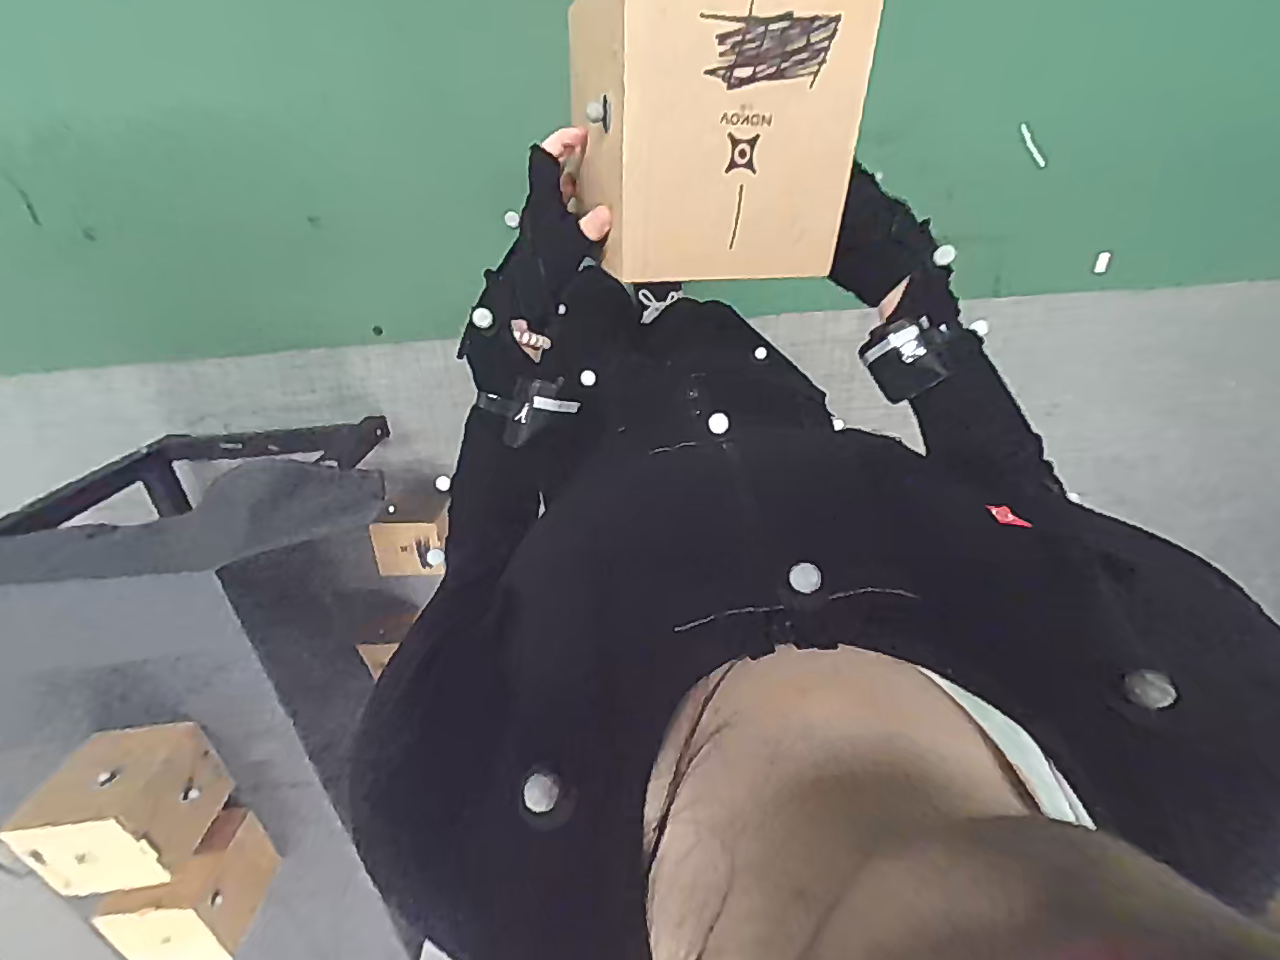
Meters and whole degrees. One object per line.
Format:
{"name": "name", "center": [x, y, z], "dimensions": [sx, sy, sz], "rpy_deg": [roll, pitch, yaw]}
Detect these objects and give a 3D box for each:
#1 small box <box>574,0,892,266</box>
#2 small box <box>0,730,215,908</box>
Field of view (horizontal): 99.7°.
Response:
{"name": "small box", "center": [0.047, -0.264, 0.399], "dimensions": [0.168, 0.176, 0.179], "rpy_deg": [-7, 122, -14]}
{"name": "small box", "center": [-0.815, 0.517, 0.842], "dimensions": [0.179, 0.176, 0.168], "rpy_deg": [-7, 116, -2]}
